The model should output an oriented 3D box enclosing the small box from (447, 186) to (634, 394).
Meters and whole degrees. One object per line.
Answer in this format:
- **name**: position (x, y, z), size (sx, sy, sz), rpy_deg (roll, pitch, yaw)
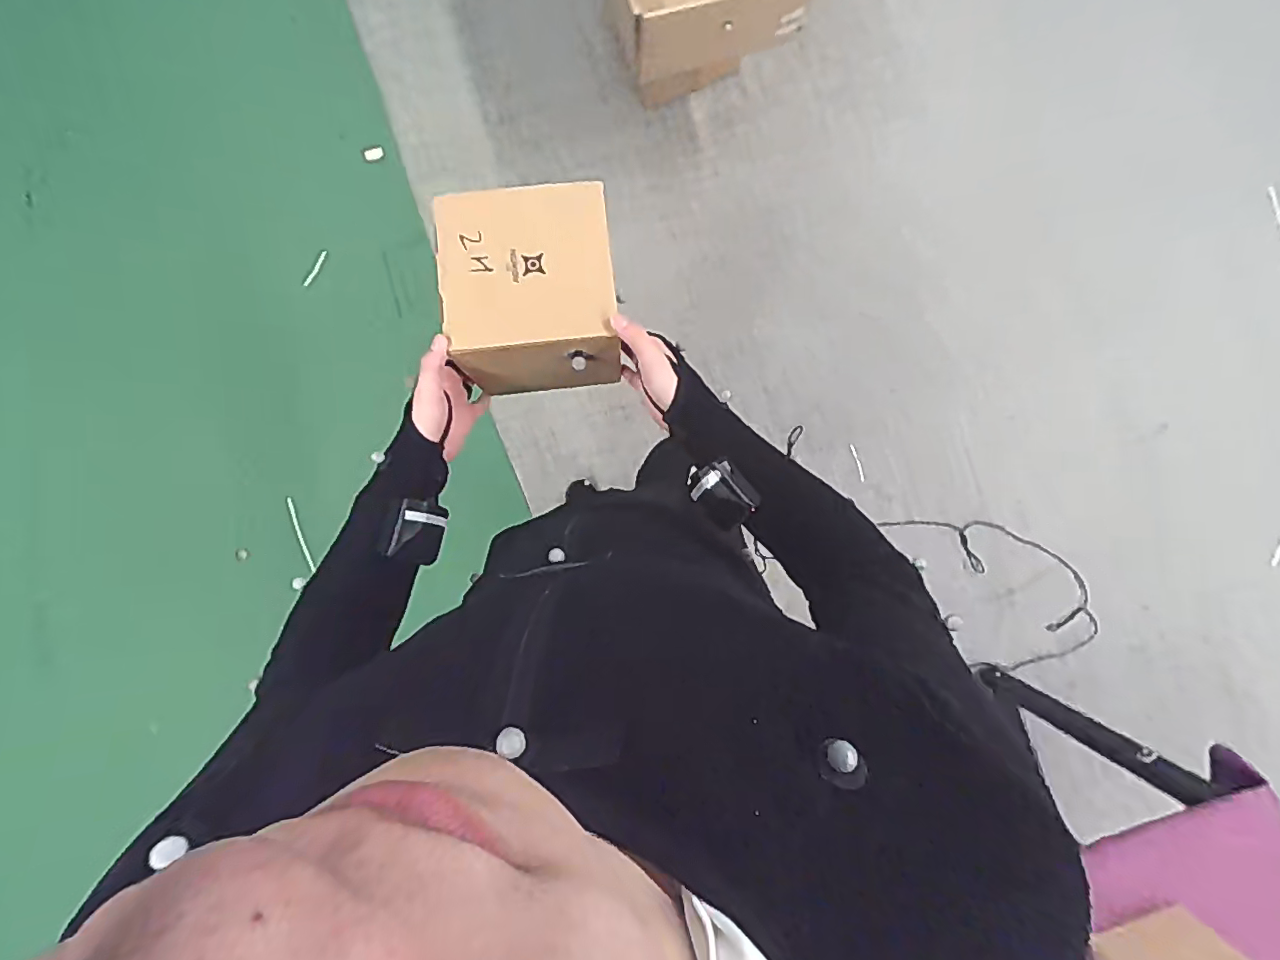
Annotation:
- **small box**: position (-0.104, -0.203, 0.618), size (0.179, 0.176, 0.168), rpy_deg (-6, 84, -3)
